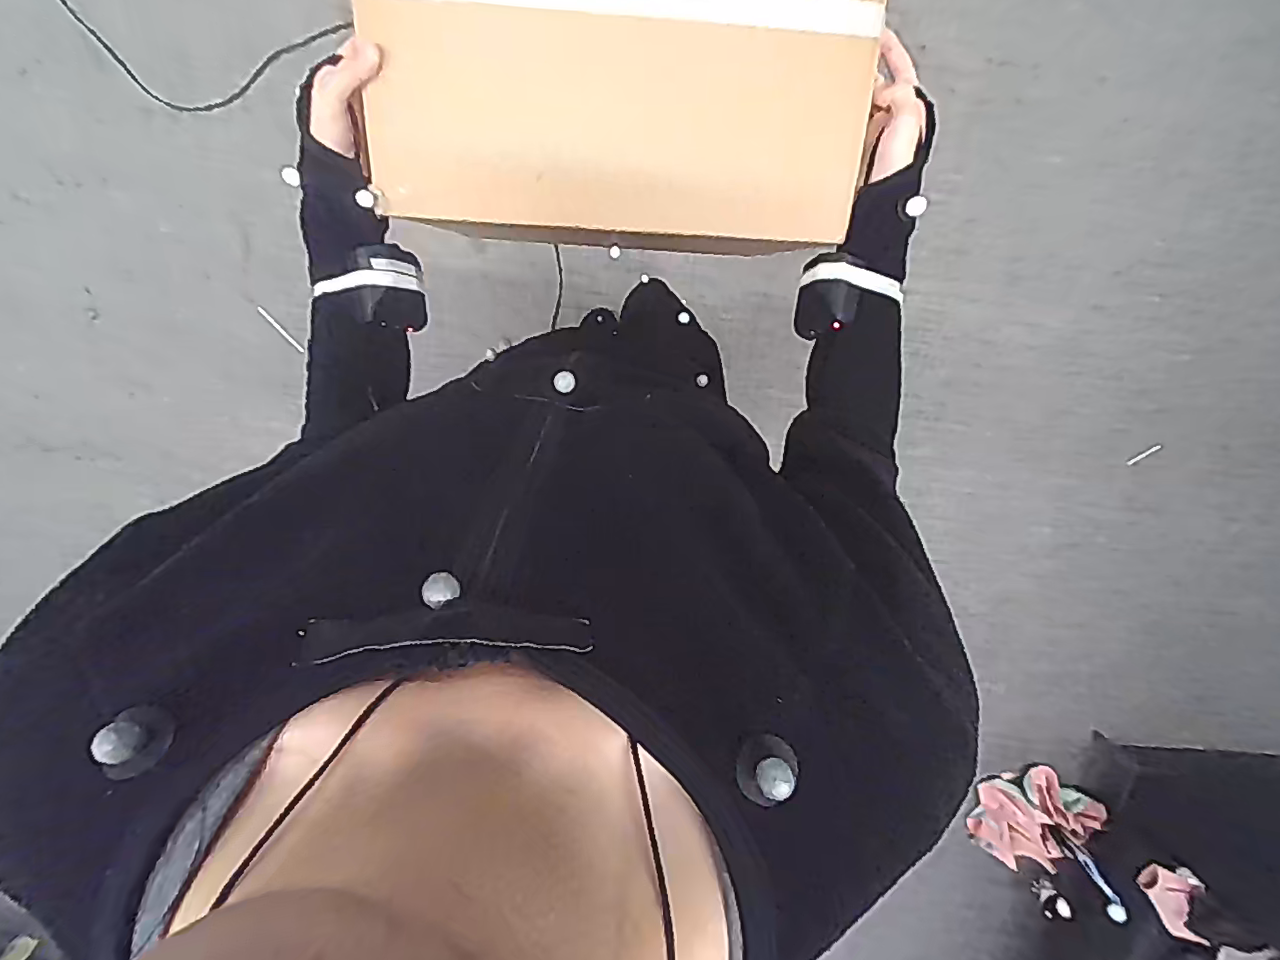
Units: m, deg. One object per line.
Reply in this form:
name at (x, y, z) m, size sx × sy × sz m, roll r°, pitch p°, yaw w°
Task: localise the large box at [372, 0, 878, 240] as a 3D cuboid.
large box at (-0.014, -0.427, 0.561) m, size 0.408 × 0.320 × 0.320 m, roll 2°, pitch 110°, yaw -3°
